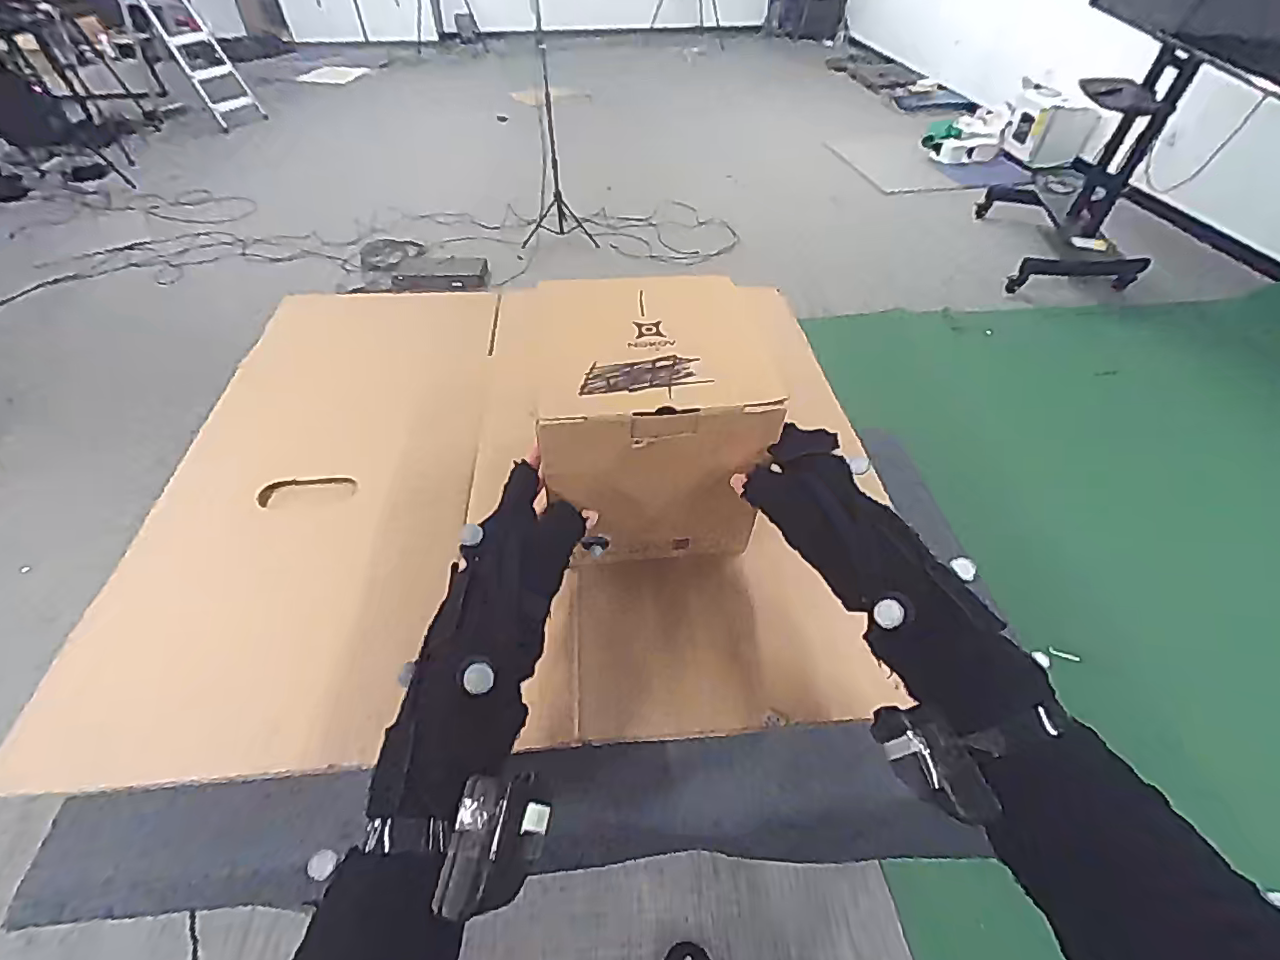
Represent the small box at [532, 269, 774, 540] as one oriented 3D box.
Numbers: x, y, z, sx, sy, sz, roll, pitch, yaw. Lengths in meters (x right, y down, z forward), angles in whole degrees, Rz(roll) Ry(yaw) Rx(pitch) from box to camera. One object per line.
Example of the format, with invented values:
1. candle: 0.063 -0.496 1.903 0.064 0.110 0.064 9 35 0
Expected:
1. small box: 0.002 -0.060 0.469 0.168 0.176 0.179 -4 48 -5
